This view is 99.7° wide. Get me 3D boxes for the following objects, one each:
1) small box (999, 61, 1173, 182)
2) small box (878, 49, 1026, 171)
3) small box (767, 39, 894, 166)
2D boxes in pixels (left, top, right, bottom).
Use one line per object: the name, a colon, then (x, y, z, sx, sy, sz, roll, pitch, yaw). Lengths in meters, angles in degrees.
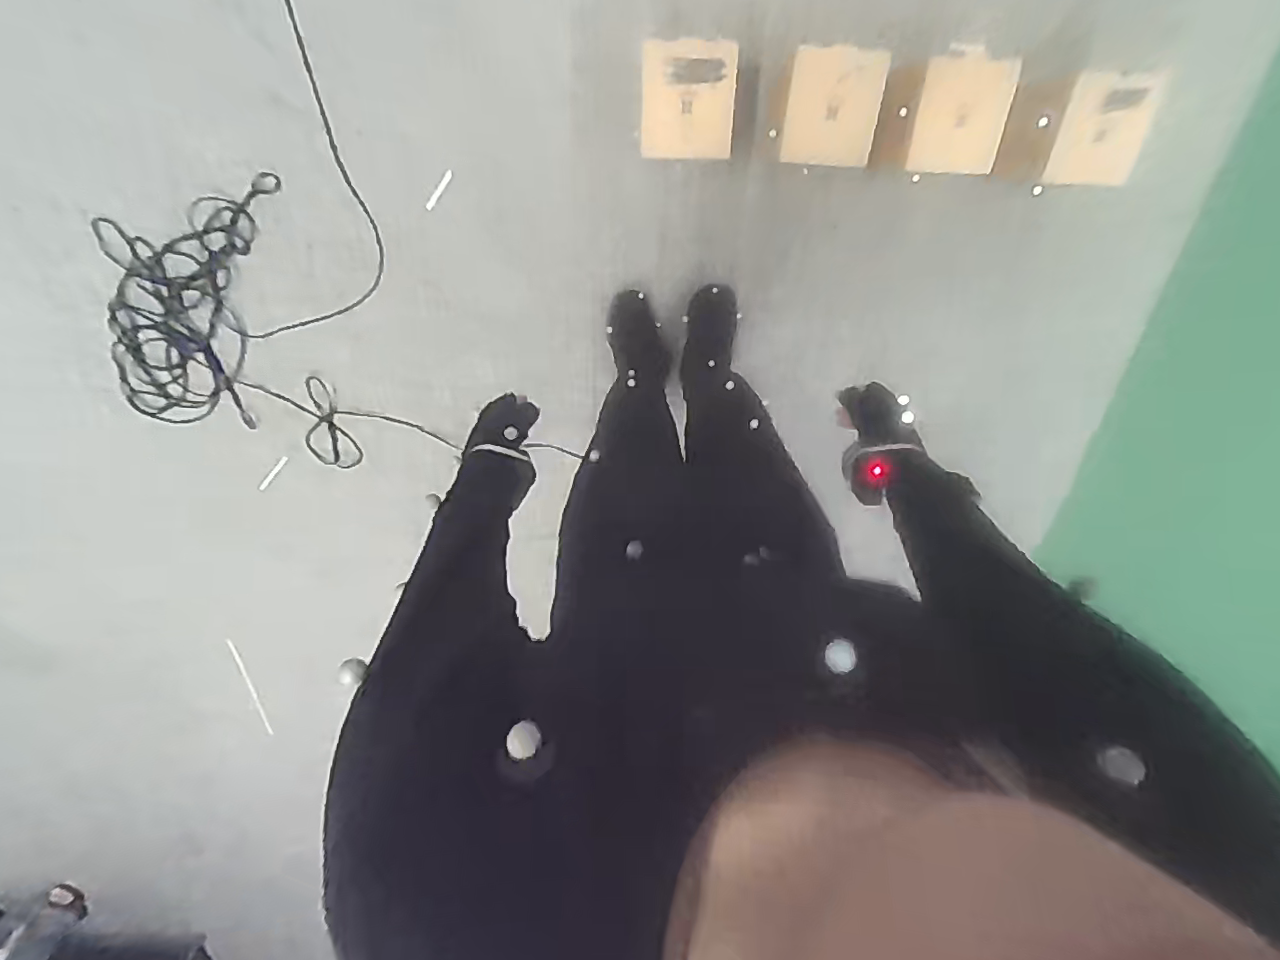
small box: (0.841, -0.681, 1.044, 0.168, 0.176, 0.179, 1, 119, -1)
small box: (0.578, -0.695, 1.034, 0.168, 0.176, 0.179, 1, 118, -1)
small box: (0.346, -0.702, 1.024, 0.168, 0.176, 0.179, 2, 118, -2)
